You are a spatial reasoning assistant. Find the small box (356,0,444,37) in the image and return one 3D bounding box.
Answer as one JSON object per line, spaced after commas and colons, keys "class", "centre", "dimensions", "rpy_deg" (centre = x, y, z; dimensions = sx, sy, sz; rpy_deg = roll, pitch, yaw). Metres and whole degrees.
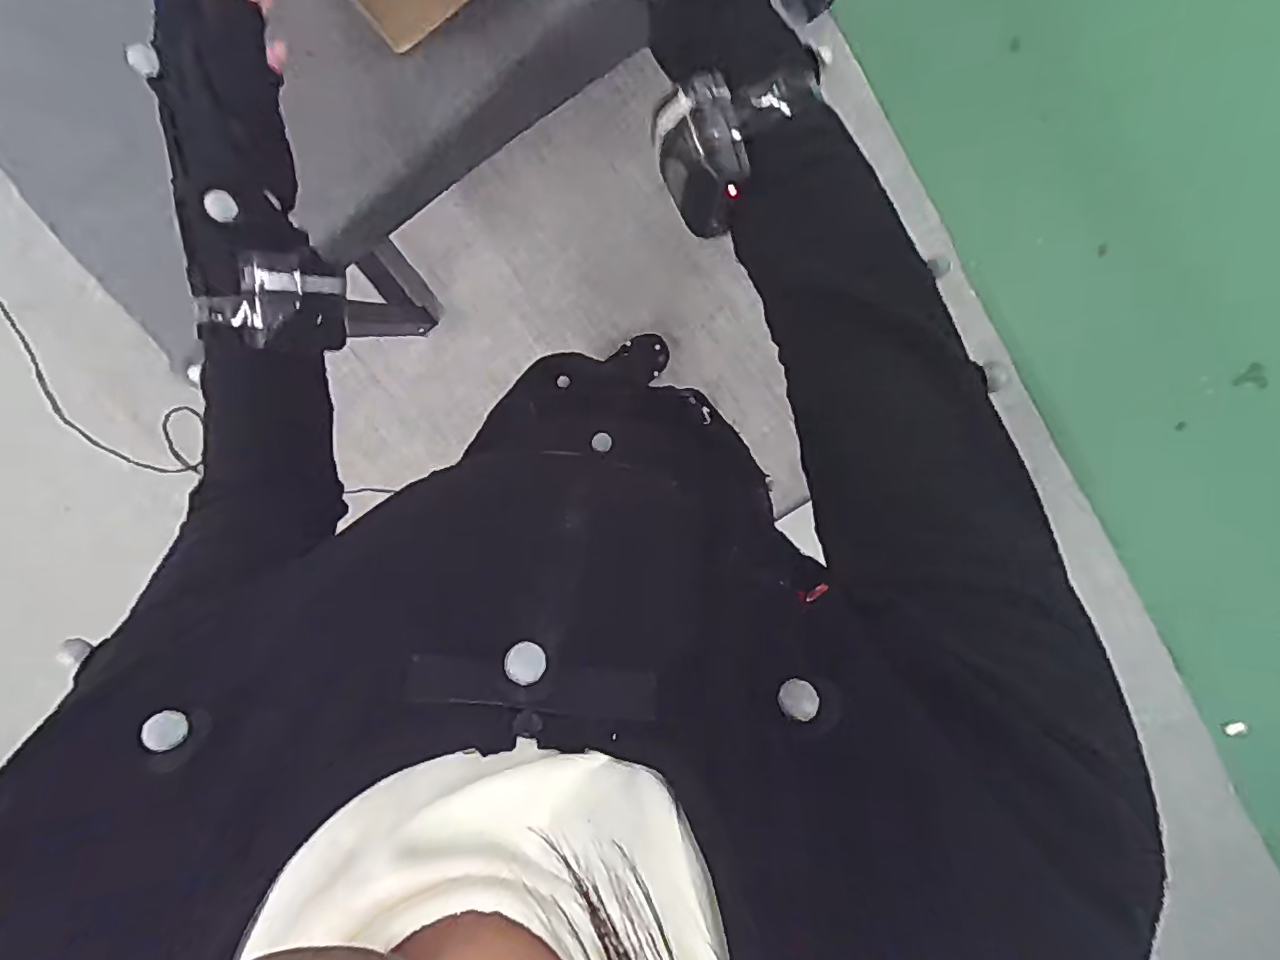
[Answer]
{"class": "small box", "centre": [-0.229, -0.542, 0.460], "dimensions": [0.179, 0.176, 0.168], "rpy_deg": [-31, 102, 10]}
